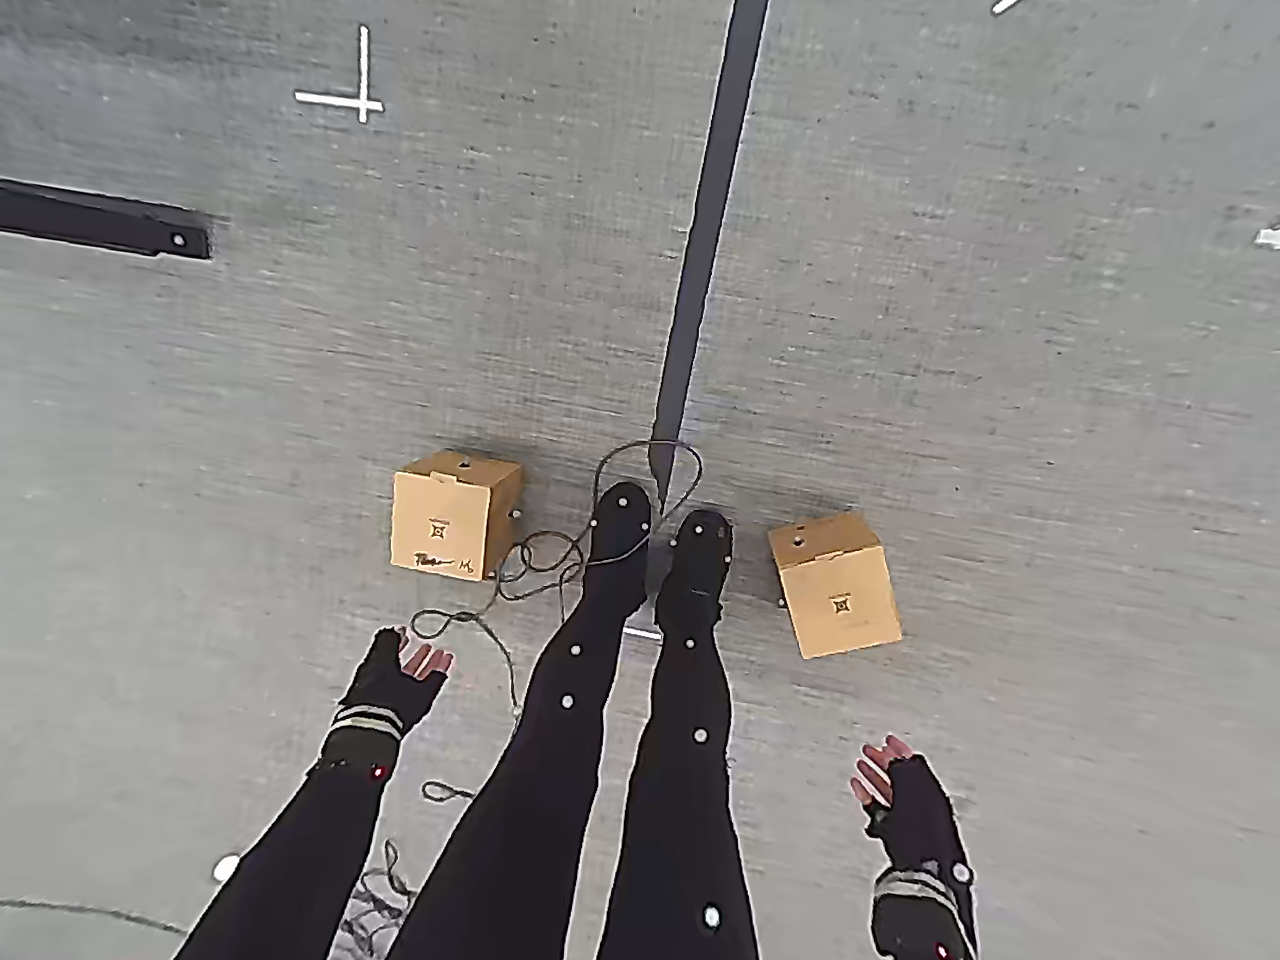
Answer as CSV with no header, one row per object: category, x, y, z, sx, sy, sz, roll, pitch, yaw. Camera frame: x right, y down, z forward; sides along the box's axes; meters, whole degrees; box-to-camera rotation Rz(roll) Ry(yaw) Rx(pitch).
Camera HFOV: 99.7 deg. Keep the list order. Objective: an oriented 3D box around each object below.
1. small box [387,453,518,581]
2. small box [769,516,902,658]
small box,-0.329,0.057,0.976,0.168,0.176,0.179,11,104,3
small box,0.331,0.175,0.943,0.168,0.176,0.179,-16,104,11
